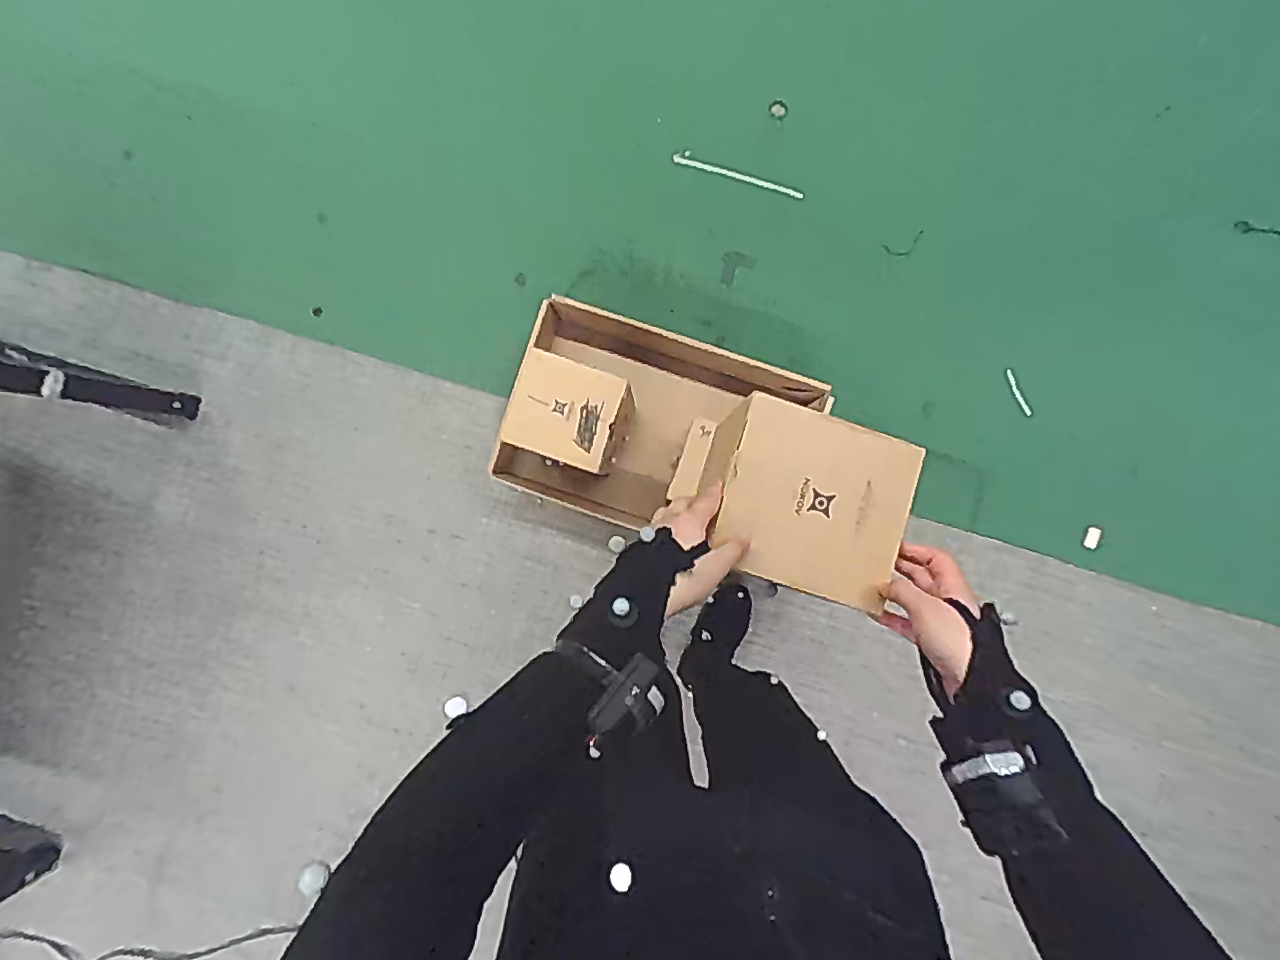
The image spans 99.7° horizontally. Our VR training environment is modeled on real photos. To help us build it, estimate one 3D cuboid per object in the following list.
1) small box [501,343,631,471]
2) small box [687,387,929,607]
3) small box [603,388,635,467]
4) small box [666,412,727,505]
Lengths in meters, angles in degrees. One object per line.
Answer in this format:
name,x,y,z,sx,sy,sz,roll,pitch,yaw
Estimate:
small box,-0.120,-0.122,0.966,0.179,0.176,0.168,20,90,1
small box,0.161,0.021,0.579,0.179,0.176,0.168,18,85,-3
small box,-0.117,-0.128,1.130,0.179,0.176,0.168,19,91,0
small box,0.160,-0.026,1.128,0.168,0.176,0.179,21,92,2
